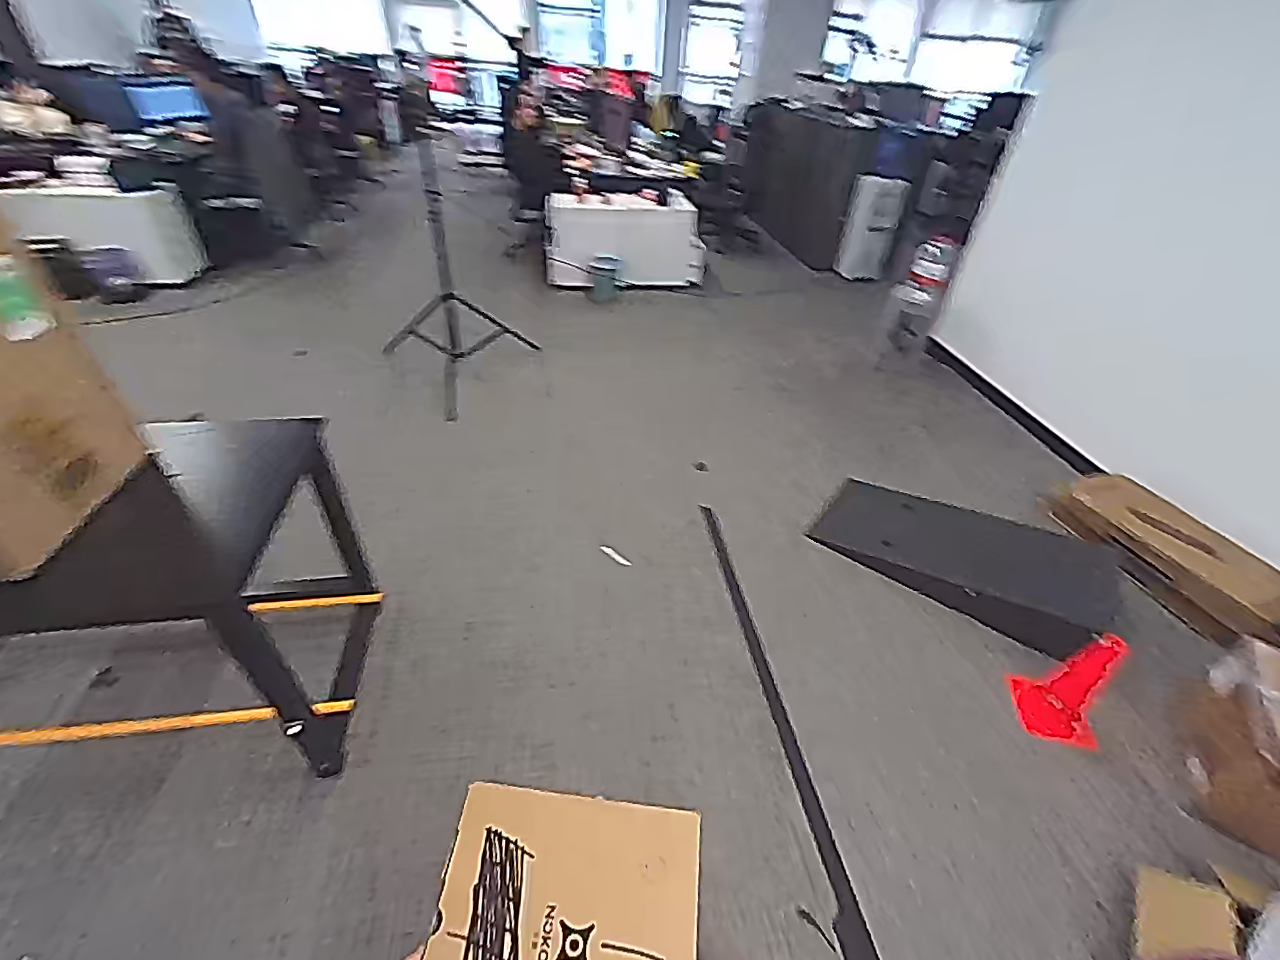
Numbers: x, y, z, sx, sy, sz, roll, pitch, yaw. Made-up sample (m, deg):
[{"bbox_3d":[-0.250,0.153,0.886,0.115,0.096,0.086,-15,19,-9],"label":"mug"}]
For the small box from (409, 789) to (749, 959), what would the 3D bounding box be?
[{"bbox_3d":[-0.035,0.306,0.328,0.179,0.176,0.168,6,49,0],"label":"small box"}]
